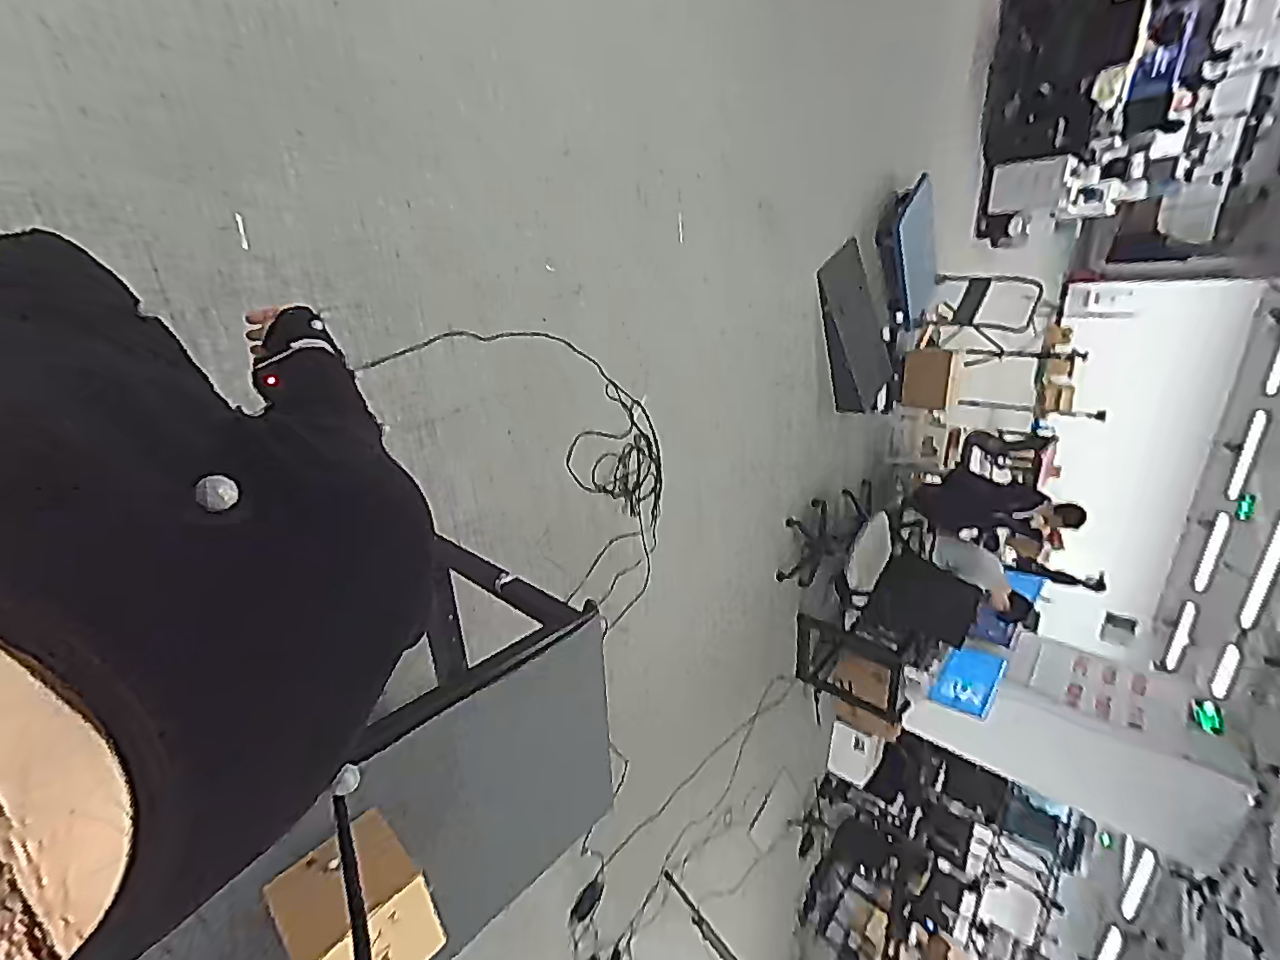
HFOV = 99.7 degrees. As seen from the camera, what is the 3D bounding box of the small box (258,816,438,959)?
[{"bbox_3d":[-0.432,0.656,0.807,0.168,0.176,0.179,-27,122,-42],"label":"small box"}]
